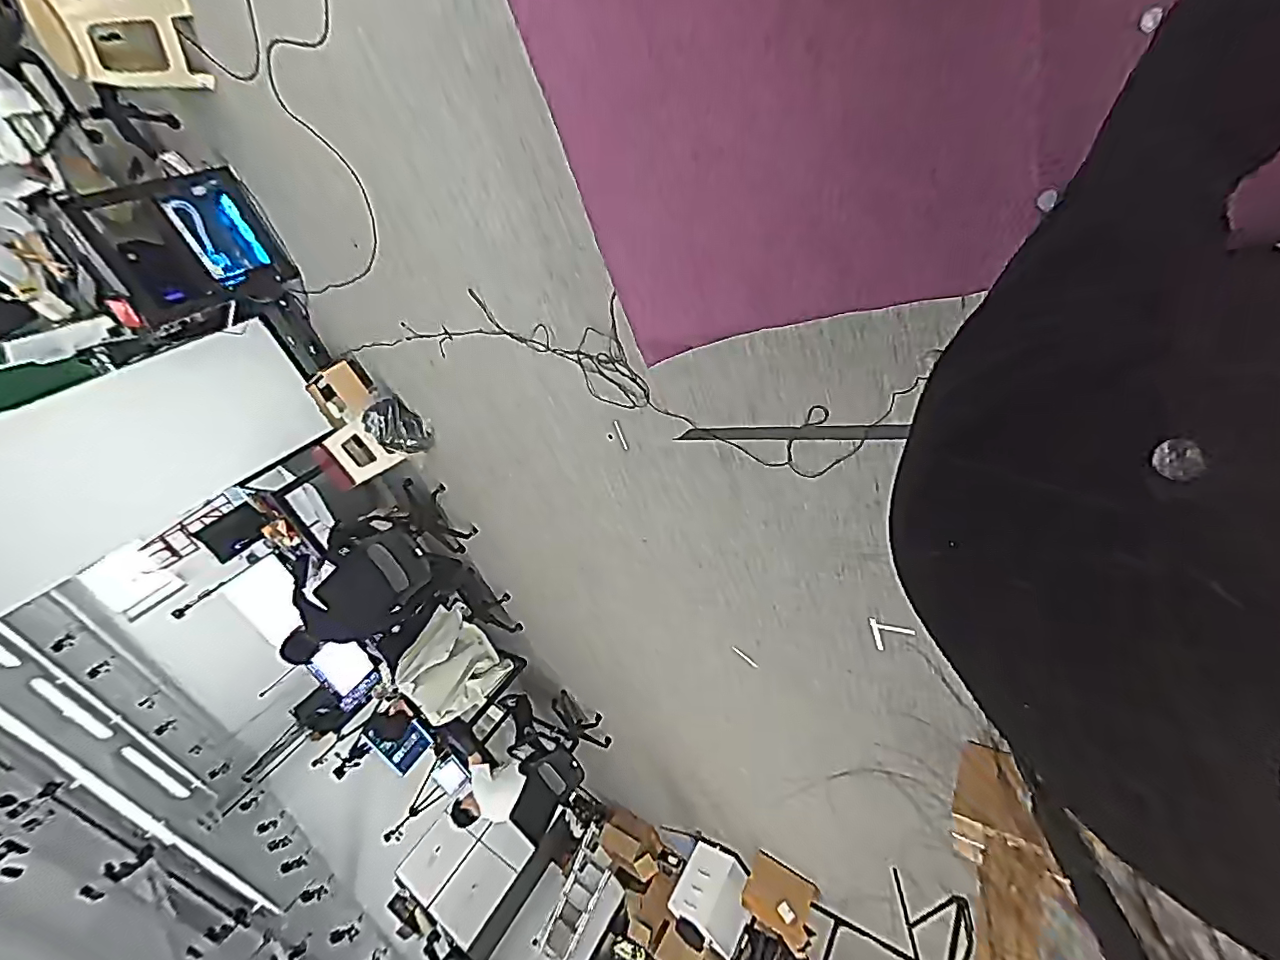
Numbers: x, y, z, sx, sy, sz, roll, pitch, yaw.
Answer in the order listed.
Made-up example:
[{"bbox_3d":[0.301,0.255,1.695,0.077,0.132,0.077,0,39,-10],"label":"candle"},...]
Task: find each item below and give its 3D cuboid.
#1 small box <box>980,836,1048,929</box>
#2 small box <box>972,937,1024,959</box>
[{"bbox_3d":[1.290,1.373,1.858,0.179,0.176,0.168,2,125,42],"label":"small box"},{"bbox_3d":[1.119,1.568,1.658,0.168,0.176,0.179,2,125,41],"label":"small box"}]
